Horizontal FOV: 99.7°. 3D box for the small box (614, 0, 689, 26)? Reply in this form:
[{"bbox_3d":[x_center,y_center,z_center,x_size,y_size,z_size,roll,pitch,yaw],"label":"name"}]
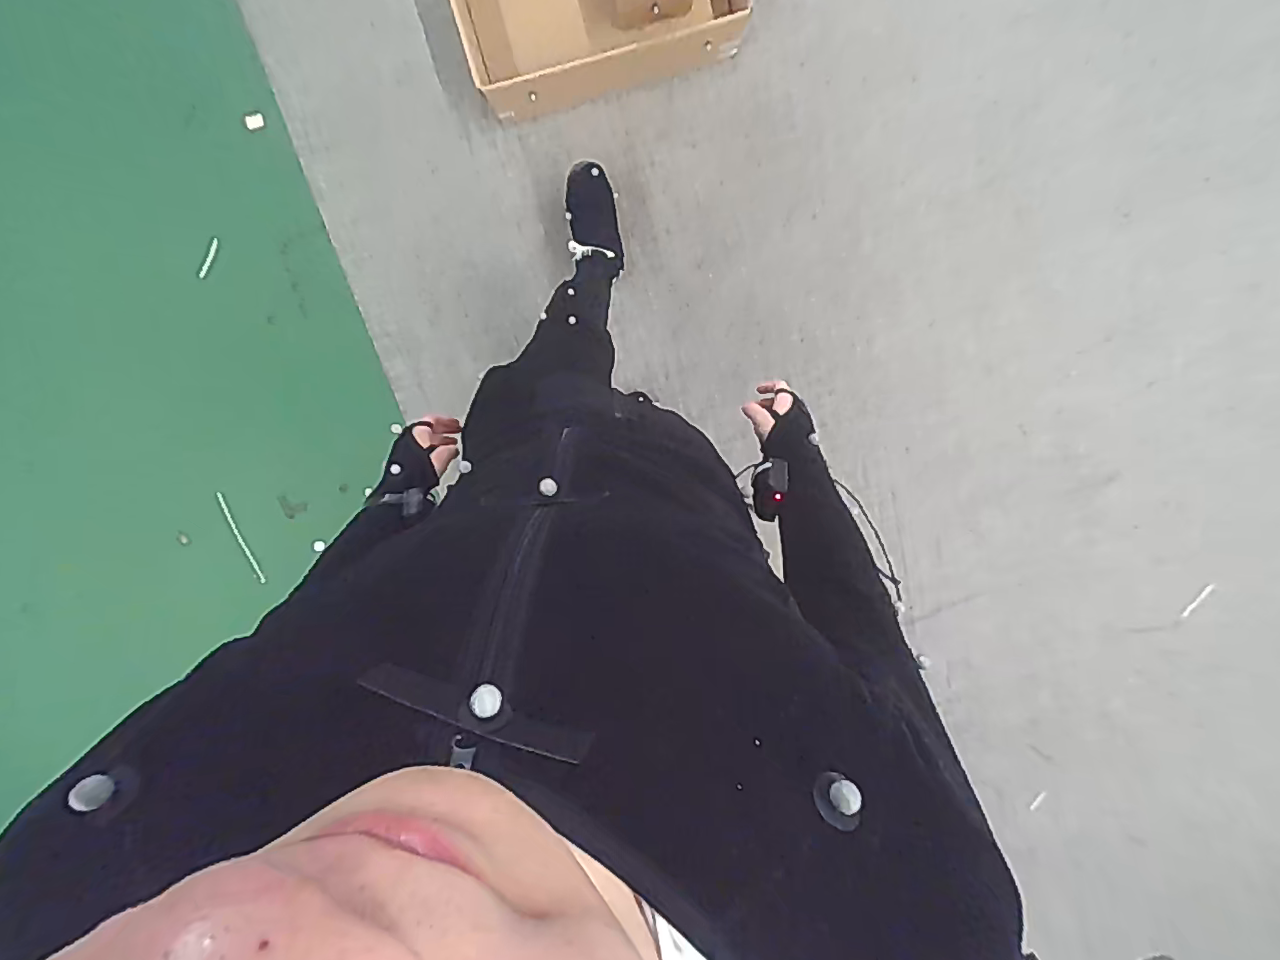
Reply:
[{"bbox_3d":[0.015,-1.108,1.144,0.168,0.176,0.179,-12,106,4],"label":"small box"}]
